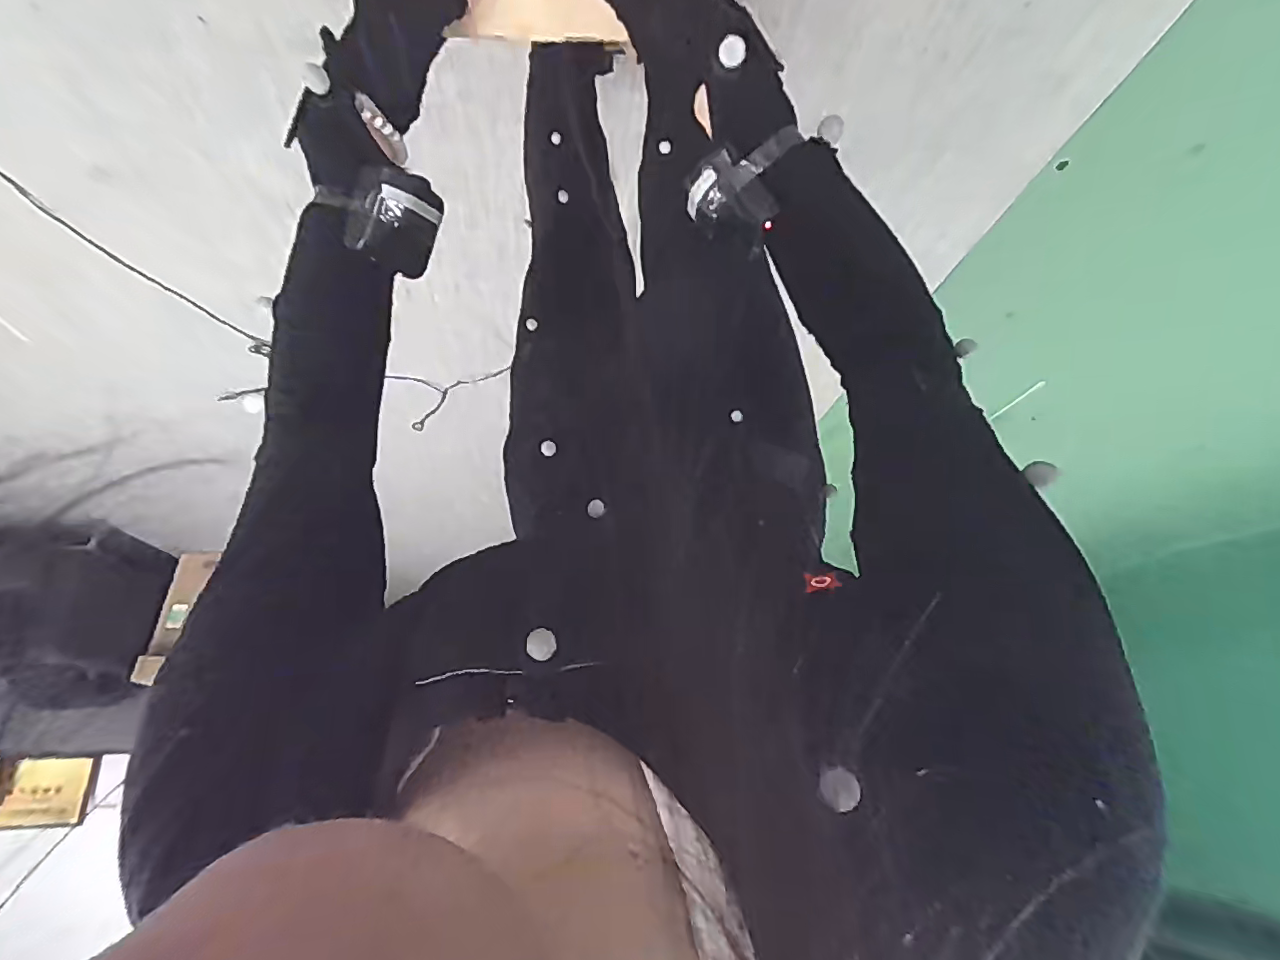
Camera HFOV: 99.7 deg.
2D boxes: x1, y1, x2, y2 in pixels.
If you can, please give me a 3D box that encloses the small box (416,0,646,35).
[{"bbox_3d":[-0.077,-0.442,0.358,0.168,0.176,0.179,1,155,0],"label":"small box"}]
